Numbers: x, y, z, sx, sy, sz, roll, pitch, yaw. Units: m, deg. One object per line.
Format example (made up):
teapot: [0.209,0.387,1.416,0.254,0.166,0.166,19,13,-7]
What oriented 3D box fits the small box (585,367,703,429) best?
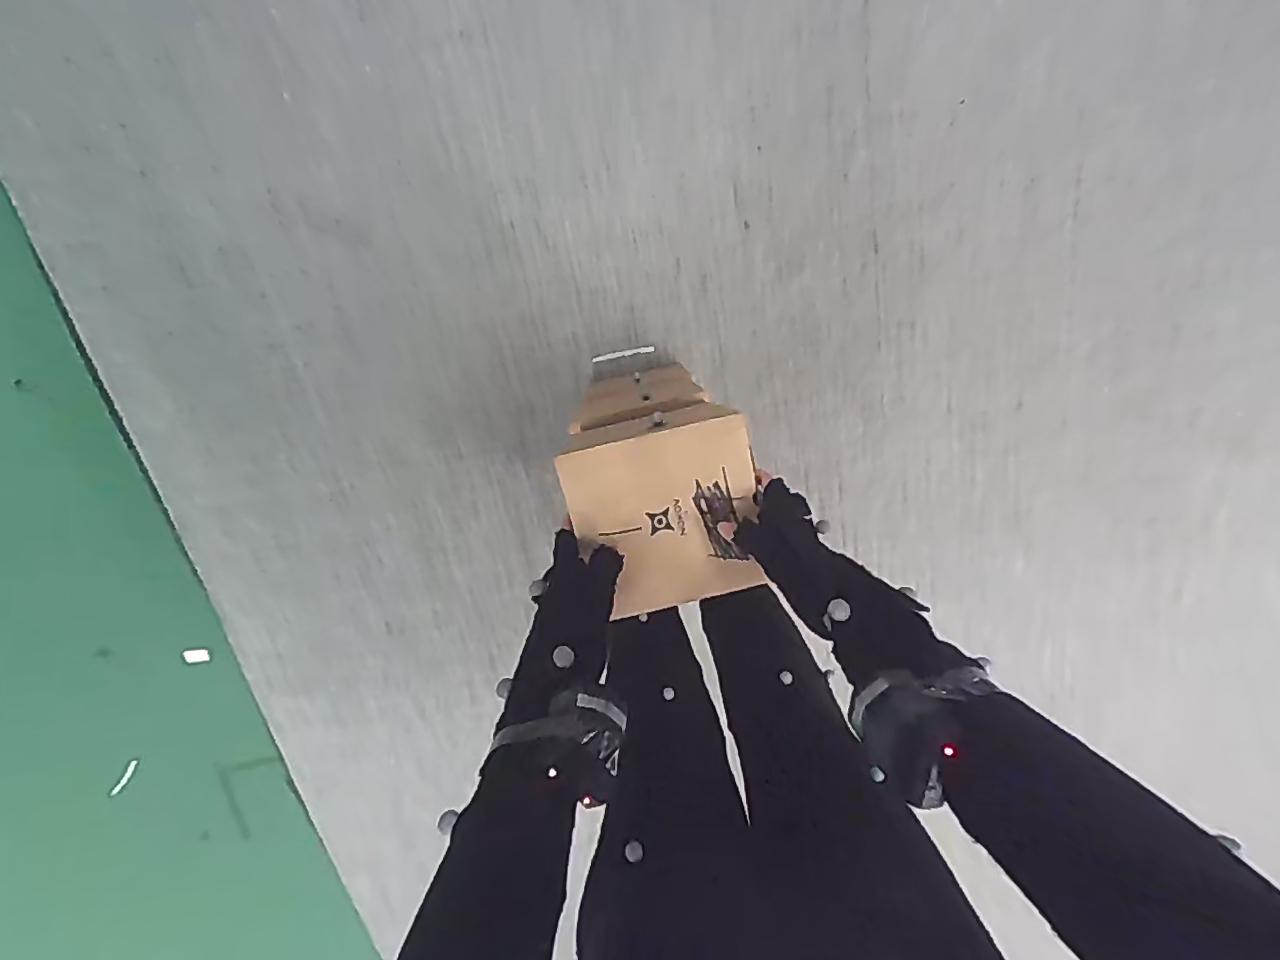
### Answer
small box: [0.015,-0.089,0.909,0.179,0.176,0.168,-11,107,3]

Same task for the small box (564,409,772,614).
small box: [0.024,0.020,0.575,0.179,0.176,0.168,-10,100,-1]
